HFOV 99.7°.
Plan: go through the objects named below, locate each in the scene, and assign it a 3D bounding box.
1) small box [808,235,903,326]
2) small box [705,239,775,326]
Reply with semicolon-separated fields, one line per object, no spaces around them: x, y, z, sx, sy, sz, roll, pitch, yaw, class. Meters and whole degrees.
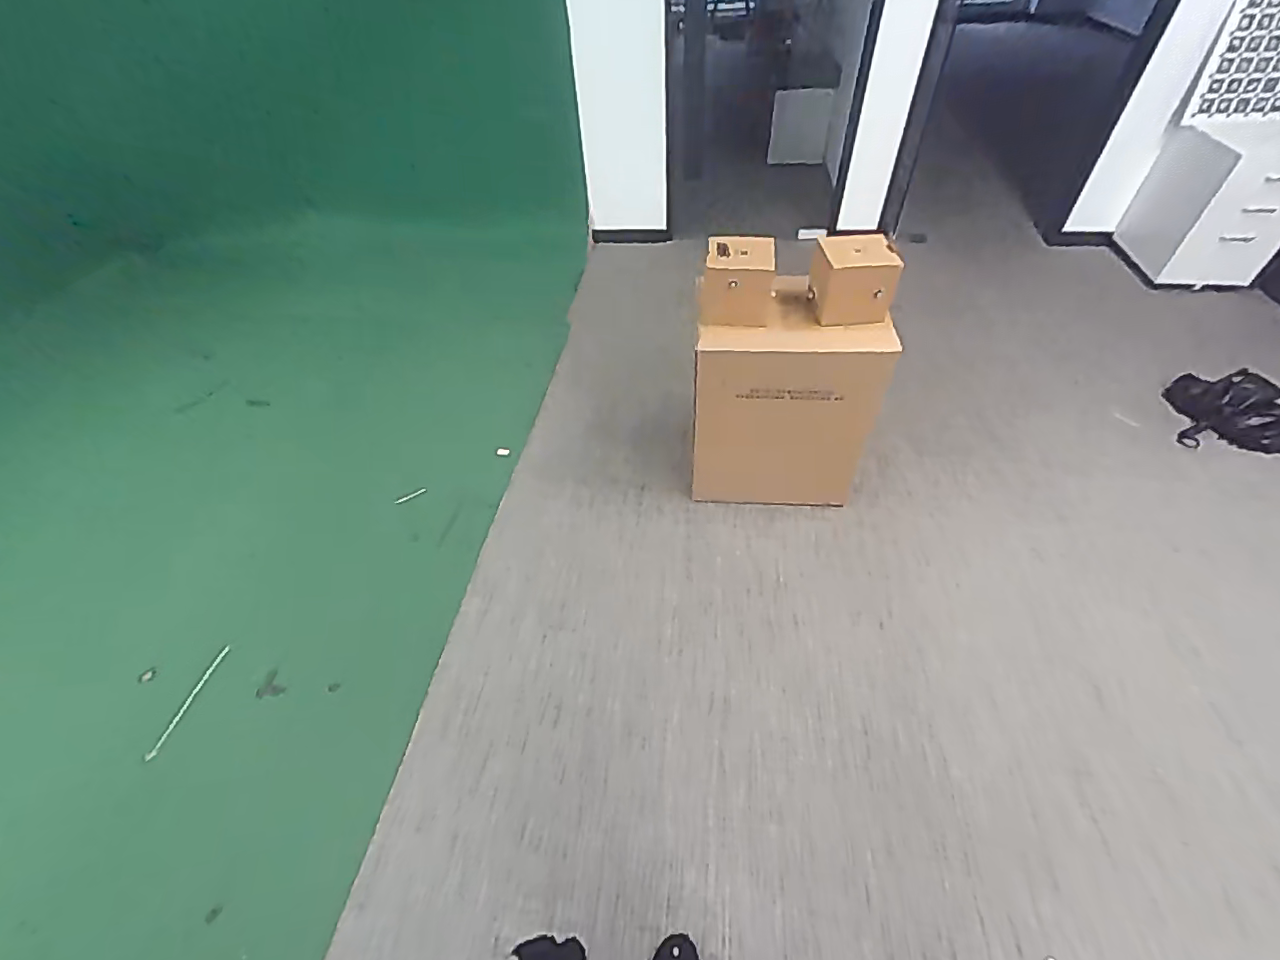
0.568;-0.531;1.450;0.179;0.176;0.168;-4;49;2;small box
0.270;-0.537;1.474;0.179;0.176;0.168;5;51;8;small box
